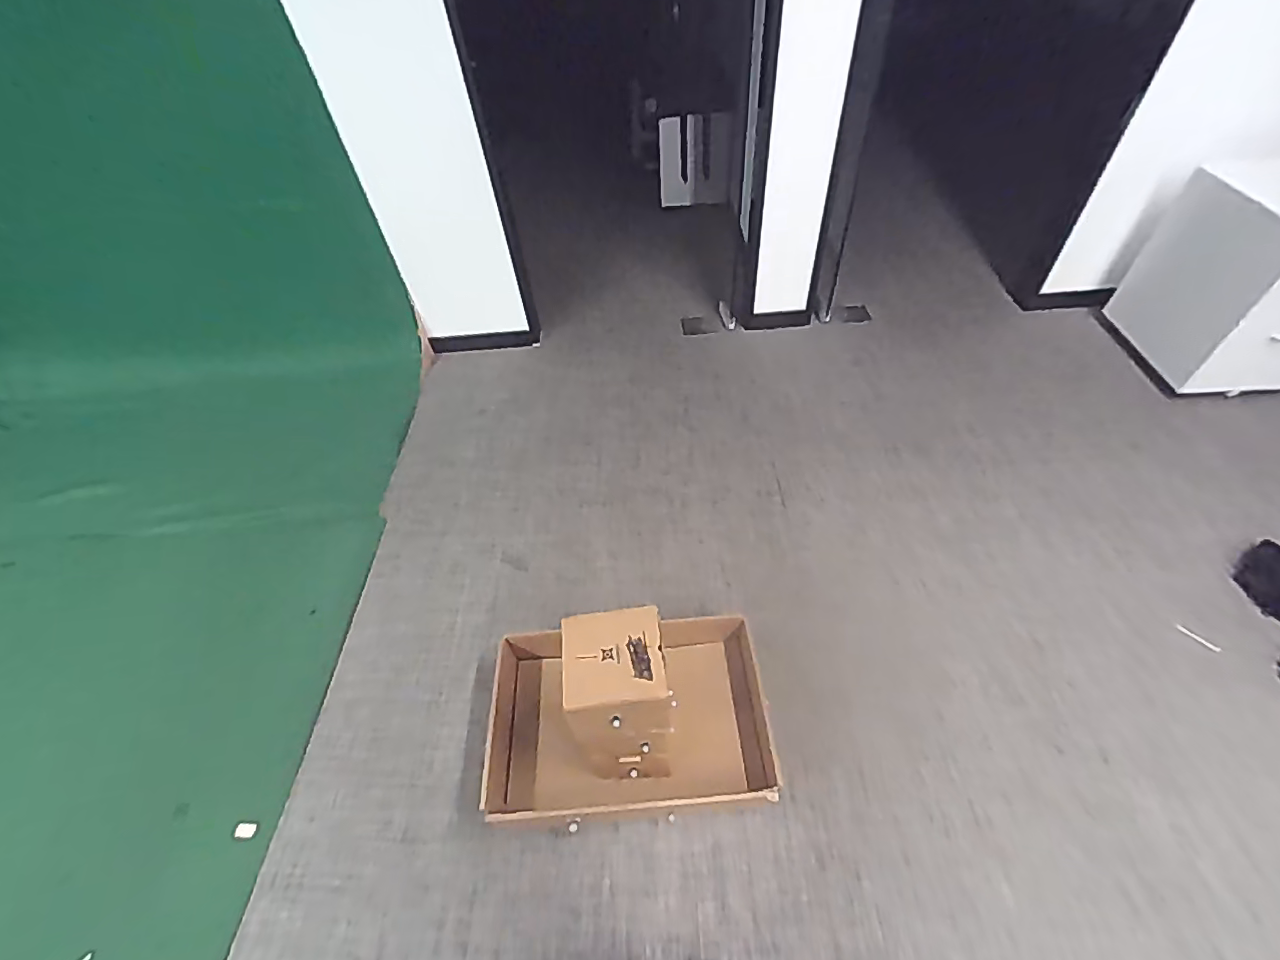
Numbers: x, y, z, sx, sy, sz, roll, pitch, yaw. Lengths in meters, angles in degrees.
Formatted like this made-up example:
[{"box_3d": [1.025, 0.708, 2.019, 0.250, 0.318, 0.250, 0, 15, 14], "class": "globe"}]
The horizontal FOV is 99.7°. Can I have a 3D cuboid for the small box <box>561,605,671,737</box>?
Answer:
[{"box_3d": [-0.044, 0.352, 0.990, 0.179, 0.176, 0.168, -9, 50, -4], "class": "small box"}]

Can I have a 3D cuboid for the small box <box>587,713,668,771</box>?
[{"box_3d": [-0.023, 0.558, 1.242, 0.168, 0.176, 0.179, -3, 50, 3], "class": "small box"}]

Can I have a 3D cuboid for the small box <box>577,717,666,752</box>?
[{"box_3d": [-0.034, 0.452, 1.120, 0.168, 0.176, 0.179, -4, 48, 2], "class": "small box"}]
